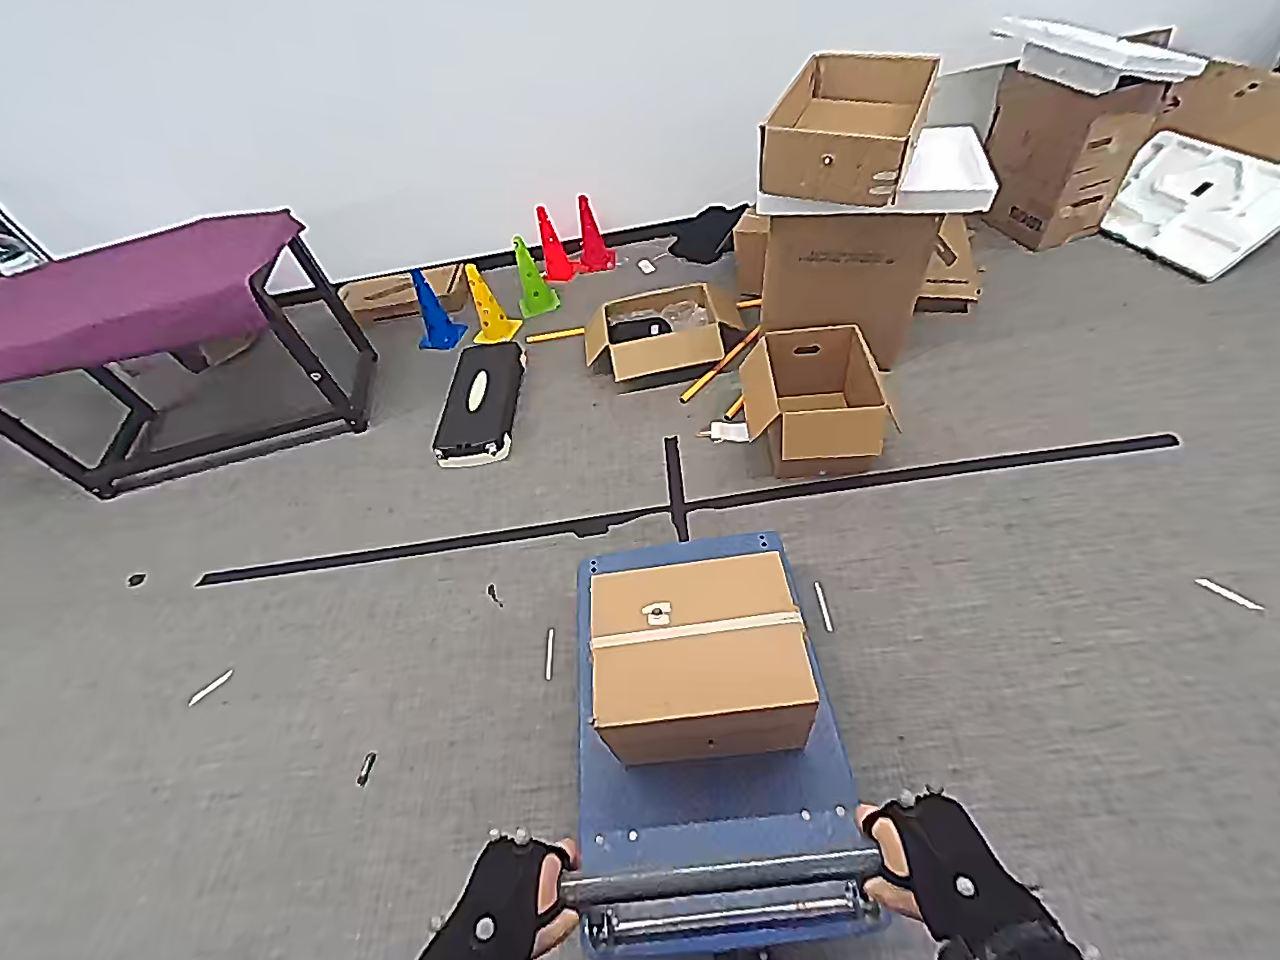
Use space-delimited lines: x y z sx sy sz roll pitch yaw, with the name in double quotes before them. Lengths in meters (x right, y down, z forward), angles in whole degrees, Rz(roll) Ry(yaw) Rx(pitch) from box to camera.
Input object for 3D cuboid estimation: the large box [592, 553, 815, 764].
"large box" 0.129 0.397 1.178 0.408 0.320 0.320 -10 49 4
